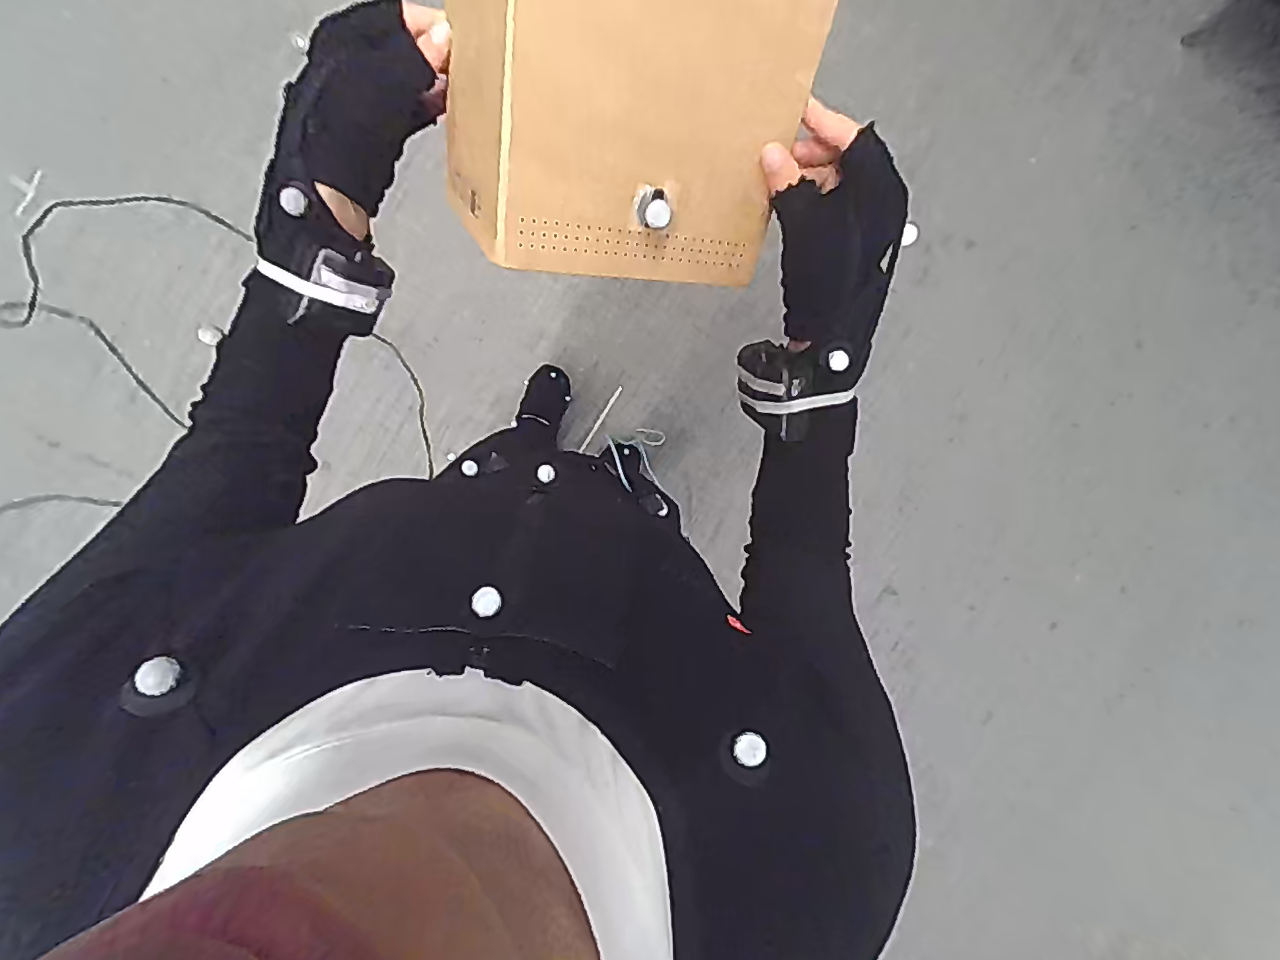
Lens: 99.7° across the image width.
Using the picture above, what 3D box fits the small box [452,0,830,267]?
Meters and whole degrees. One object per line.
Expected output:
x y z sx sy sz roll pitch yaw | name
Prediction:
-0.019 -0.248 0.345 0.179 0.168 0.176 -7 131 -25 | small box
